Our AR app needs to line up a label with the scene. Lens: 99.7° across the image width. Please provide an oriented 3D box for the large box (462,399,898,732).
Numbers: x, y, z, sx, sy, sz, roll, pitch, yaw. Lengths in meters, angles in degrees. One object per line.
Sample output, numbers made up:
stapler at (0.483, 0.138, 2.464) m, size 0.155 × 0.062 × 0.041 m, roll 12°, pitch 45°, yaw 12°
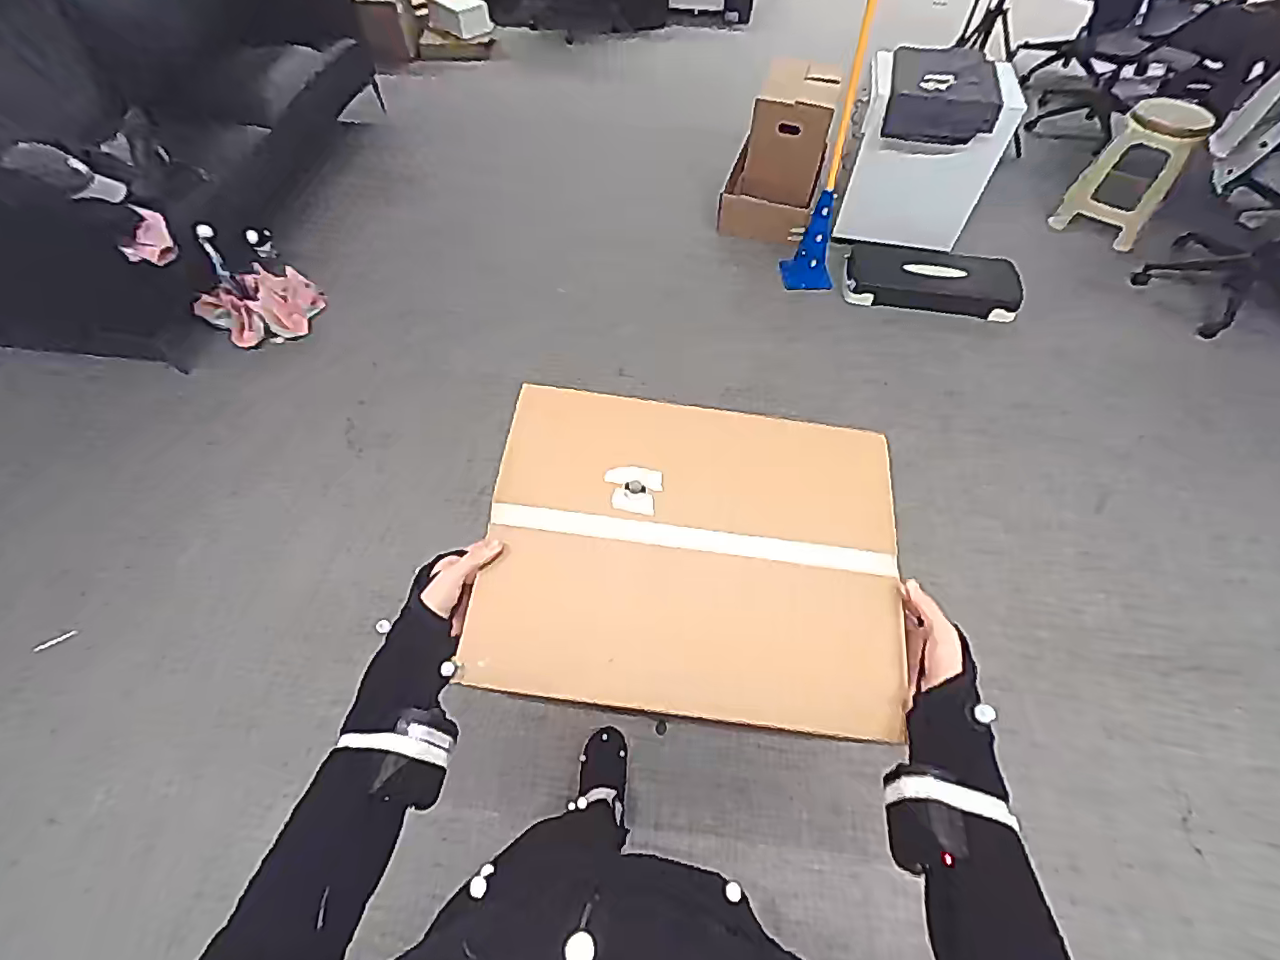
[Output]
large box at (0.046, 0.127, 0.681) m, size 0.408 × 0.320 × 0.320 m, roll 7°, pitch 64°, yaw 0°
